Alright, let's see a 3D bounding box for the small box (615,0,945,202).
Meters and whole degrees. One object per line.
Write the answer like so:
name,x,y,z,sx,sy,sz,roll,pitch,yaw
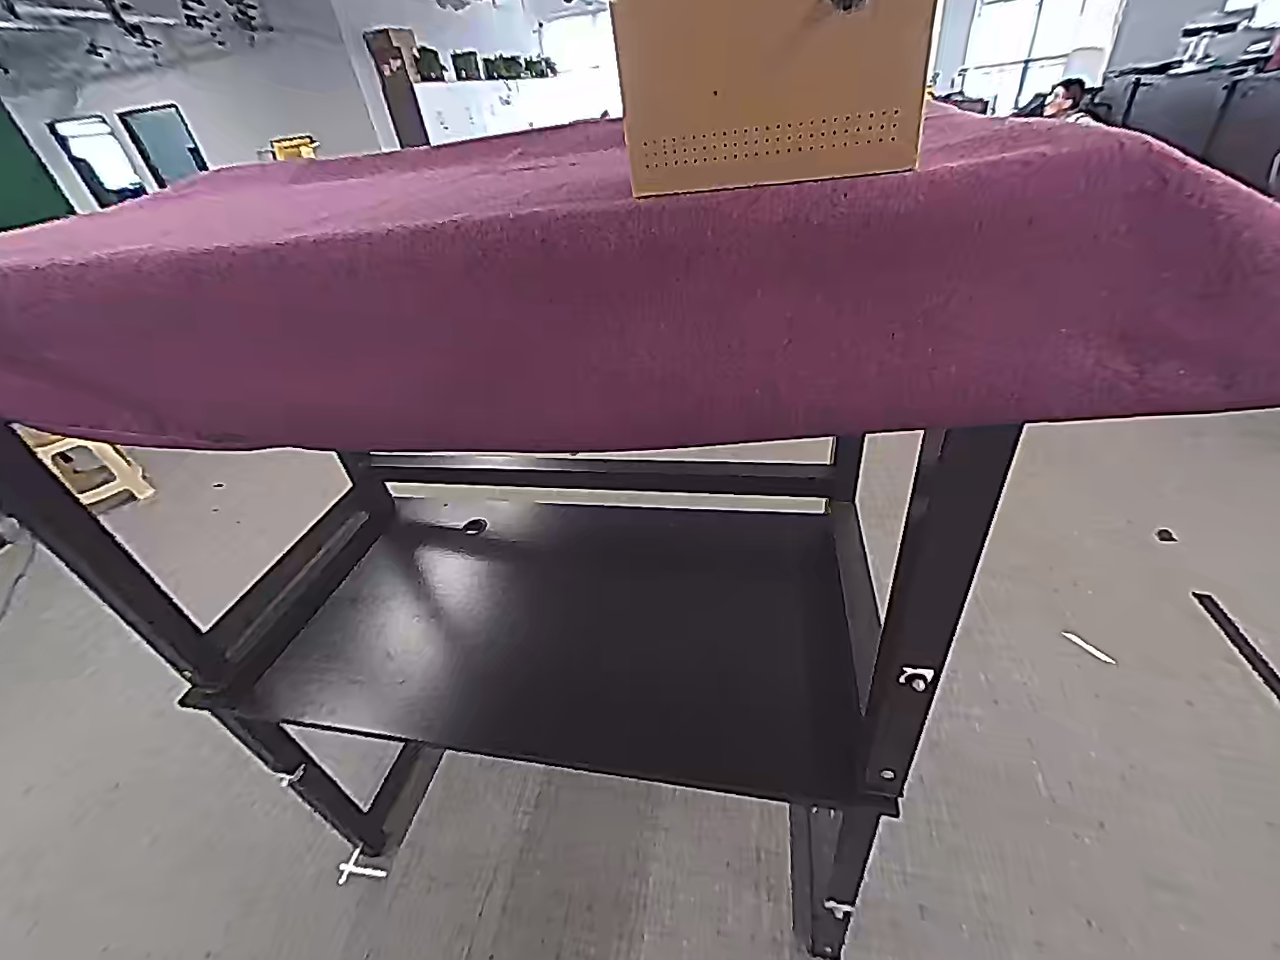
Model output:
small box,0.093,-0.291,0.349,0.179,0.176,0.168,4,36,18
